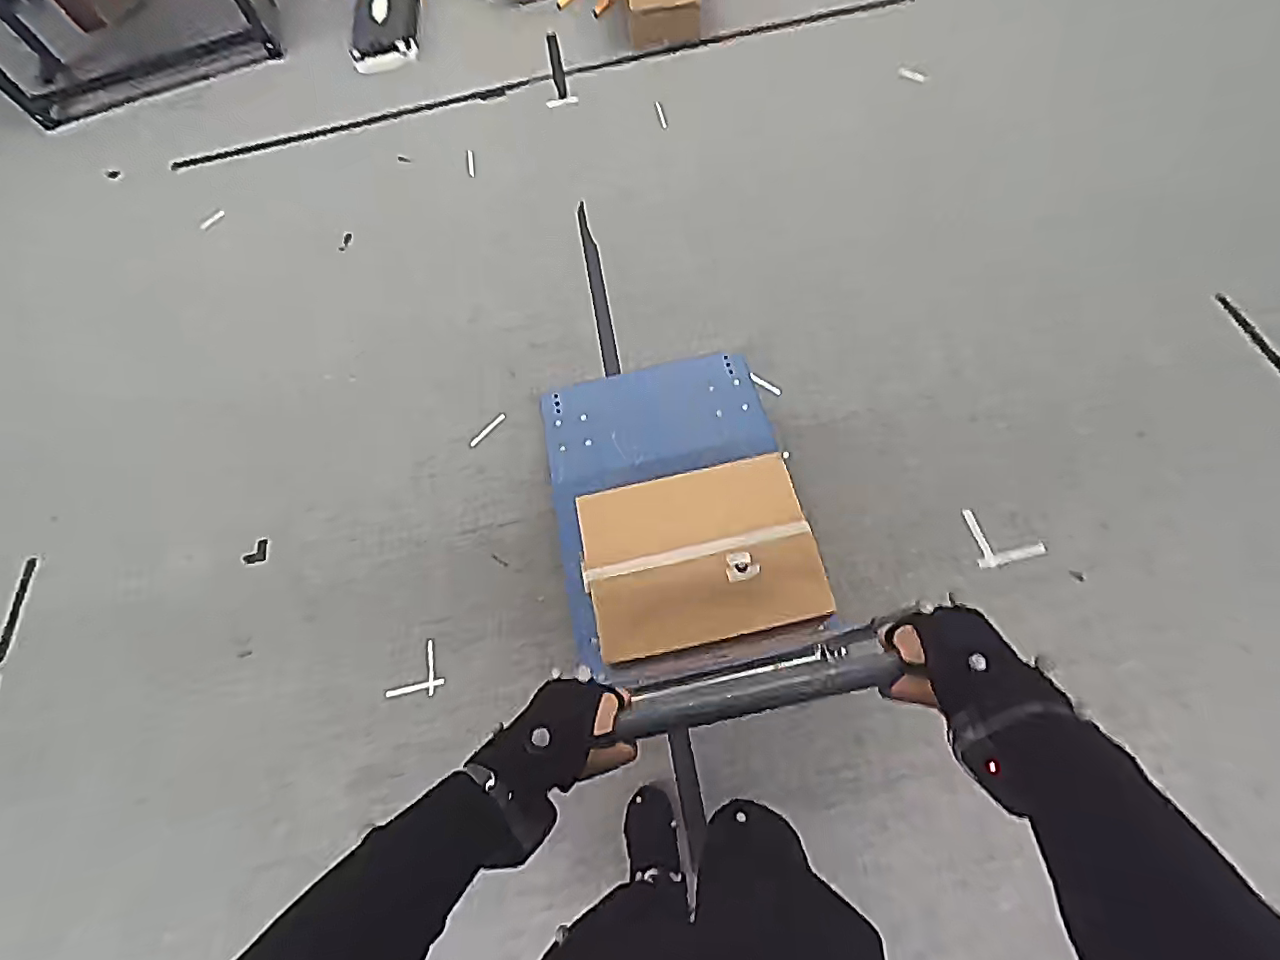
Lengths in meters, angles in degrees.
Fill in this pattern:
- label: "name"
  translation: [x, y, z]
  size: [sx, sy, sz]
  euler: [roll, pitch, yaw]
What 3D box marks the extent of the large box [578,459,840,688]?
- label: "large box"
  translation: [0.118, 0.202, 1.082]
  size: [0.408, 0.320, 0.320]
  euler: [-13, 65, -1]
